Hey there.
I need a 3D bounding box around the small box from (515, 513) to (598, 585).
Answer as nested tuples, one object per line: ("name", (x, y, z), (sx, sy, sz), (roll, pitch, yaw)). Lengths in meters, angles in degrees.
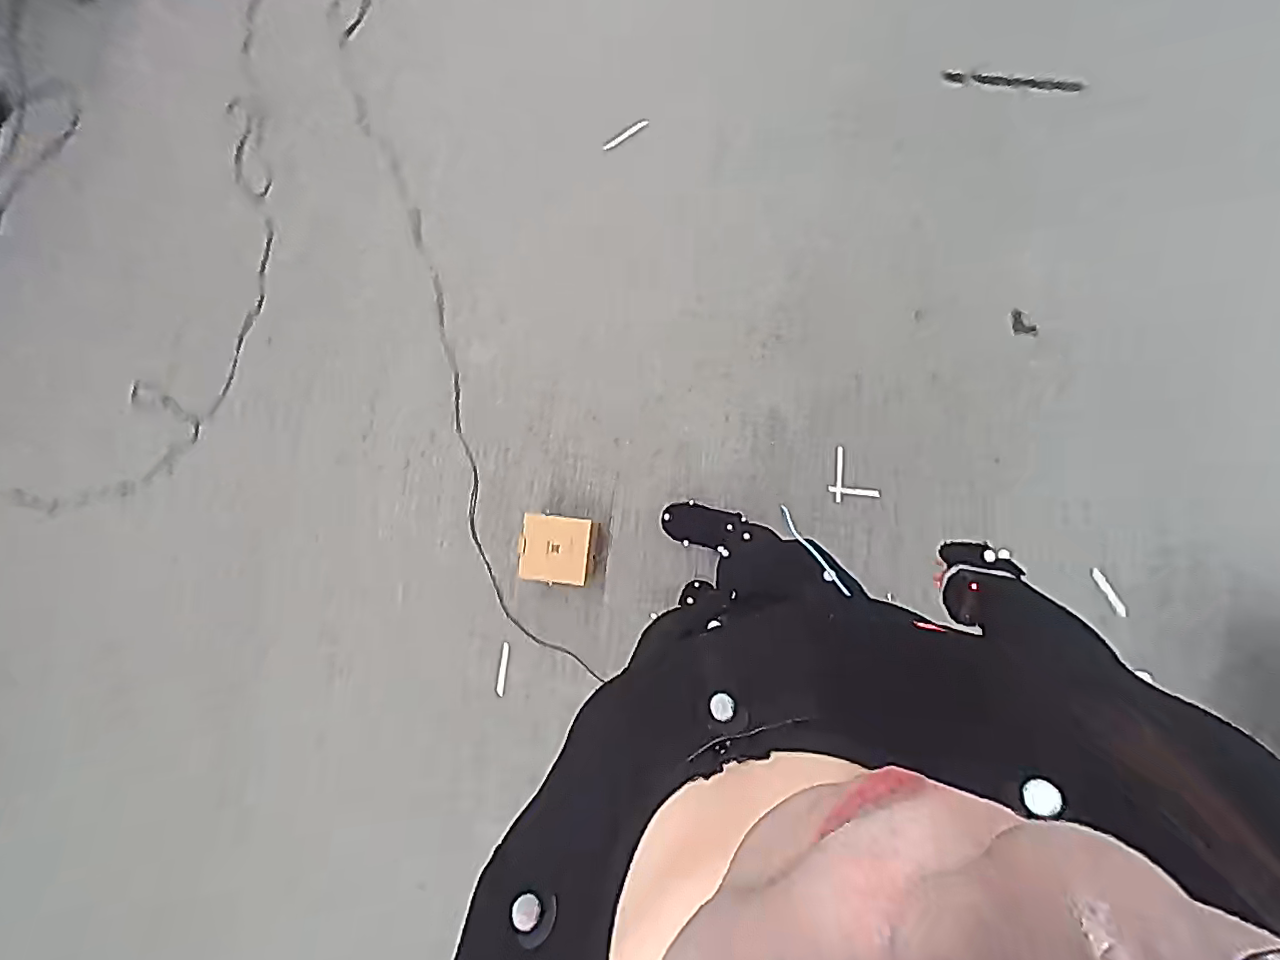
("small box", (-0.216, 0.181, 1.441), (0.179, 0.176, 0.168), (6, 86, 3))
